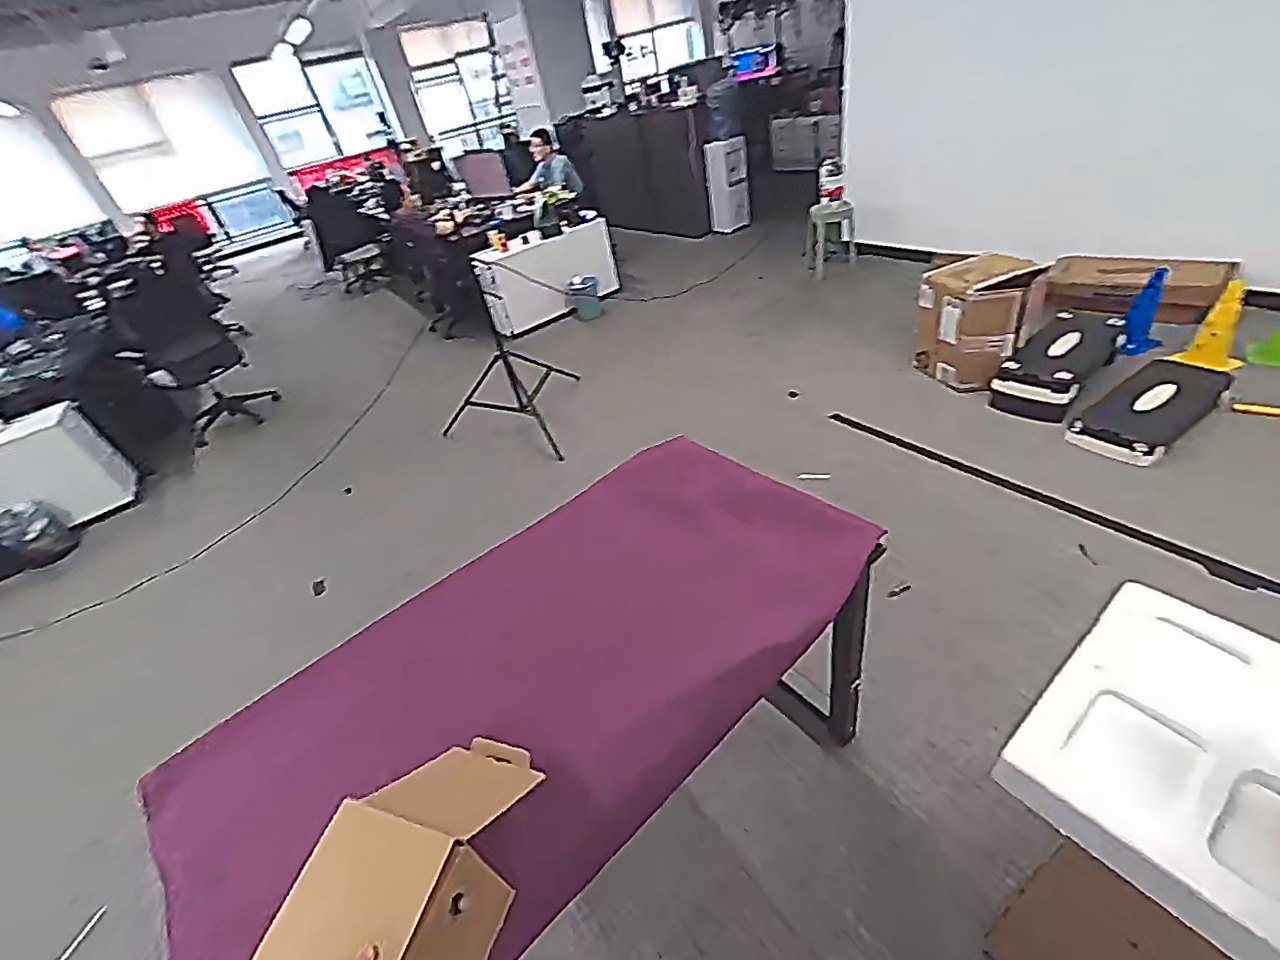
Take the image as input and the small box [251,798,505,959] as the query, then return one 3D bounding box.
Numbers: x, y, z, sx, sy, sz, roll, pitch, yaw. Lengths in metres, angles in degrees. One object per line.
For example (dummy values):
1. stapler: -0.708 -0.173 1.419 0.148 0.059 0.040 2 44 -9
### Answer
1. small box: -0.279 0.512 0.621 0.168 0.176 0.179 3 39 24
